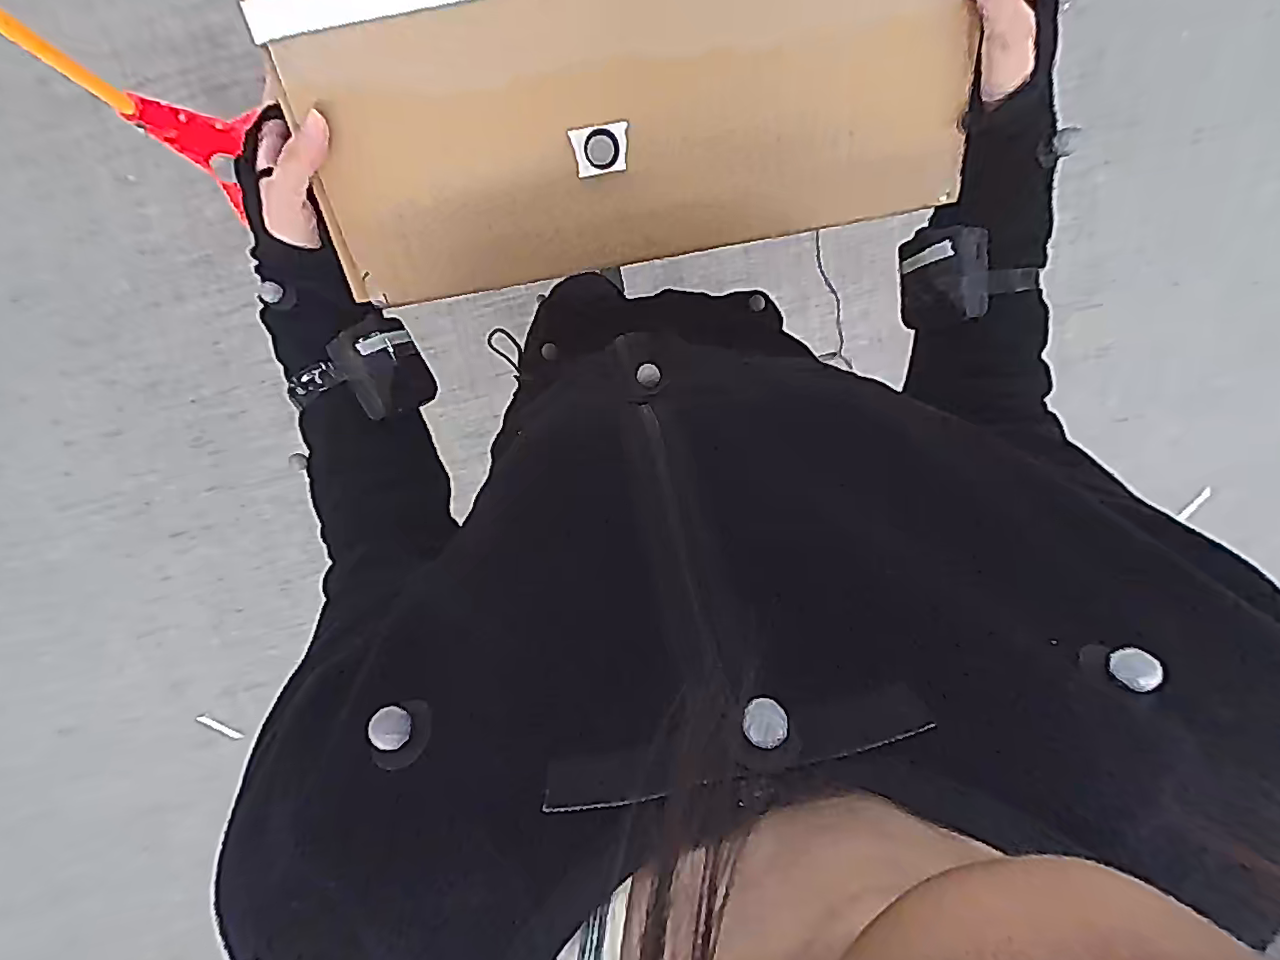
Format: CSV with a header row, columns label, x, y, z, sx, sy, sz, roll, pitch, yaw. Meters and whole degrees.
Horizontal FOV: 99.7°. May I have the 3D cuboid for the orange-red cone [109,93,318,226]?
label,x,y,z,sx,sy,sz,roll,pitch,yaw
orange-red cone,-0.821,-0.632,1.013,0.199,0.360,0.198,-22,106,4
